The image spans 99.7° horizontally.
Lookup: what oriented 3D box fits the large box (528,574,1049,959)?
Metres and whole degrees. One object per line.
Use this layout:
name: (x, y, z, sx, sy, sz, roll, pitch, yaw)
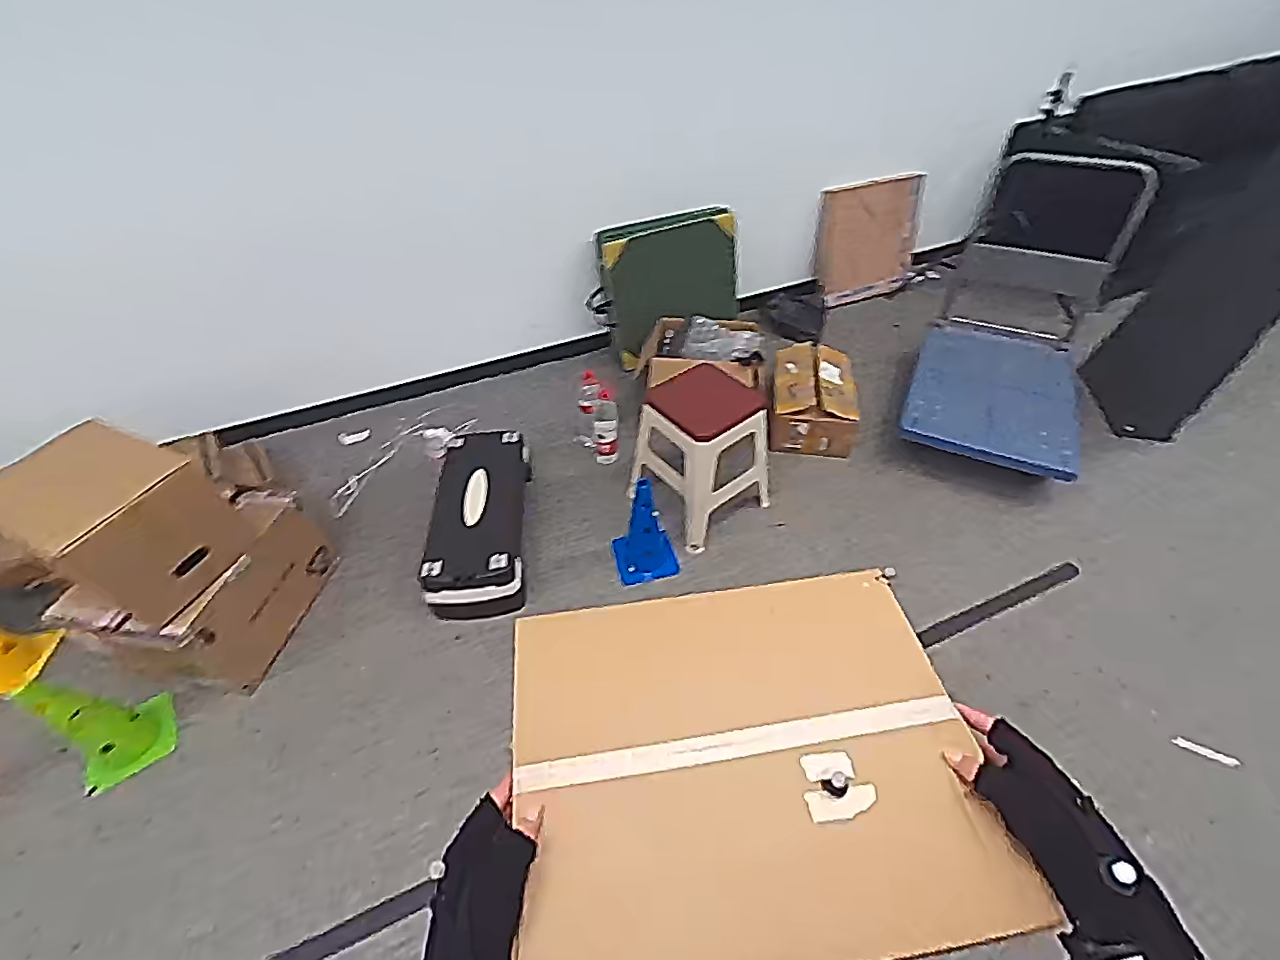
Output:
large box: (0.099, 0.342, 0.603, 0.408, 0.320, 0.320, -6, 47, -5)
